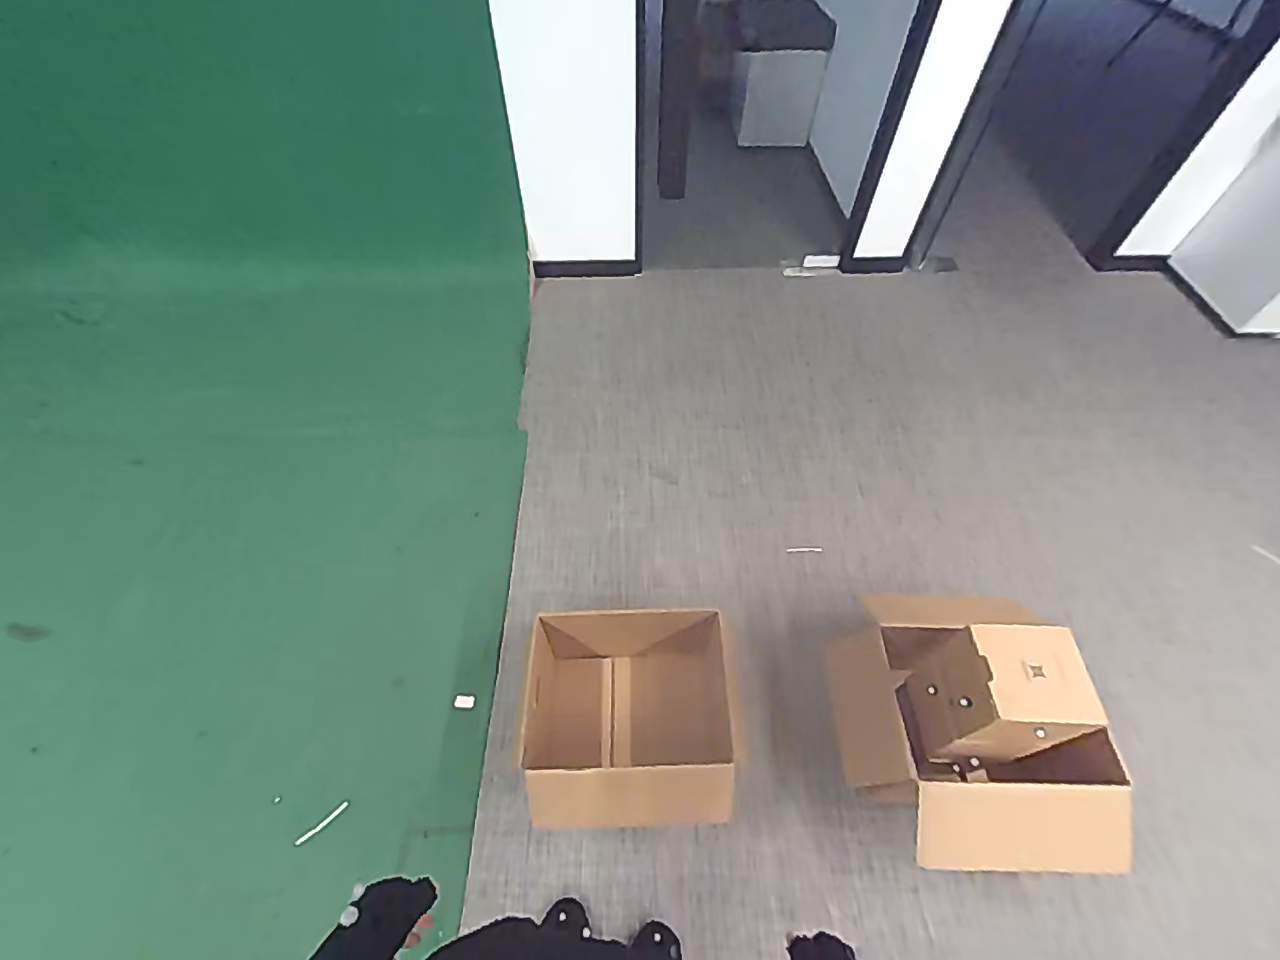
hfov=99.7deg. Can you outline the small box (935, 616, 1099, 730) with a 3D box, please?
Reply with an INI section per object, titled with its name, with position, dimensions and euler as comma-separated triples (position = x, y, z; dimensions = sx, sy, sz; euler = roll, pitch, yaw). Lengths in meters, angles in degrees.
[small box]
position = 0.677, 0.362, 1.004
dimensions = 0.179, 0.176, 0.168
euler = 0, 55, 2
